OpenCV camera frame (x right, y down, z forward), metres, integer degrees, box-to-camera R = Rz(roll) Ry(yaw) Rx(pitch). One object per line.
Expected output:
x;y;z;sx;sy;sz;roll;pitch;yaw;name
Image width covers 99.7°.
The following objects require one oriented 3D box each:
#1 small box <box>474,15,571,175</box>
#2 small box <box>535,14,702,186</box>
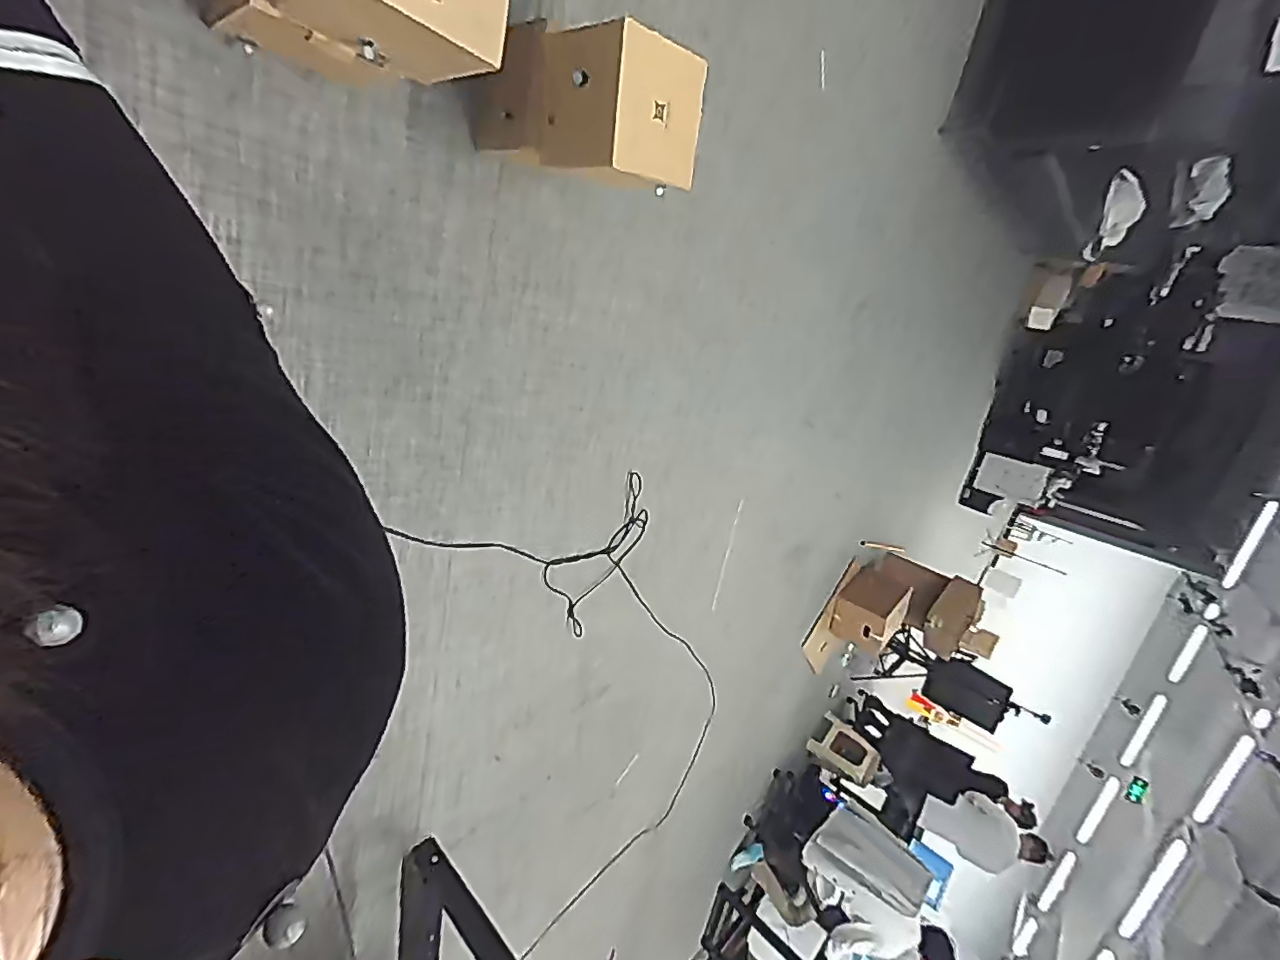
-0.152;-0.610;0.886;0.179;0.176;0.168;-11;119;-47;small box
-0.036;-0.539;0.795;0.179;0.176;0.168;-17;123;-45;small box
